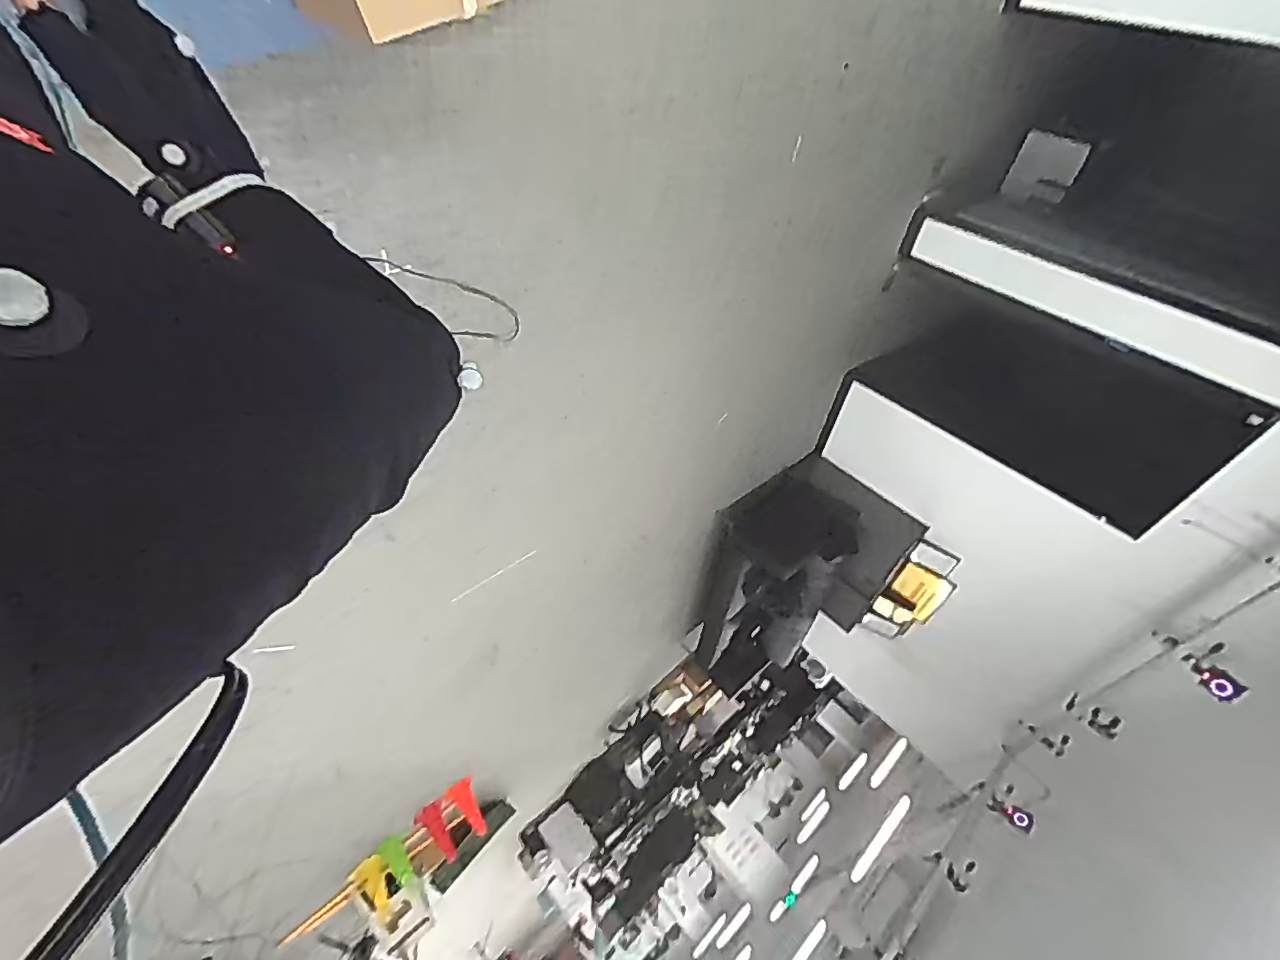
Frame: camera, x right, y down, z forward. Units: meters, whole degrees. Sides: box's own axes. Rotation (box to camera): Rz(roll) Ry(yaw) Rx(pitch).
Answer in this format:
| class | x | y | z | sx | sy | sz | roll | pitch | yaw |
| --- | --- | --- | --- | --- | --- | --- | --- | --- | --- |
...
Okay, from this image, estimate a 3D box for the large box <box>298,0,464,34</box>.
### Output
| class | x | y | z | sx | sy | sz | roll | pitch | yaw |
| --- | --- | --- | --- | --- | --- | --- | --- | --- | --- |
| large box | -0.381 | -0.900 | 0.710 | 0.320 | 0.320 | 0.408 | -37 | 148 | -19 |
